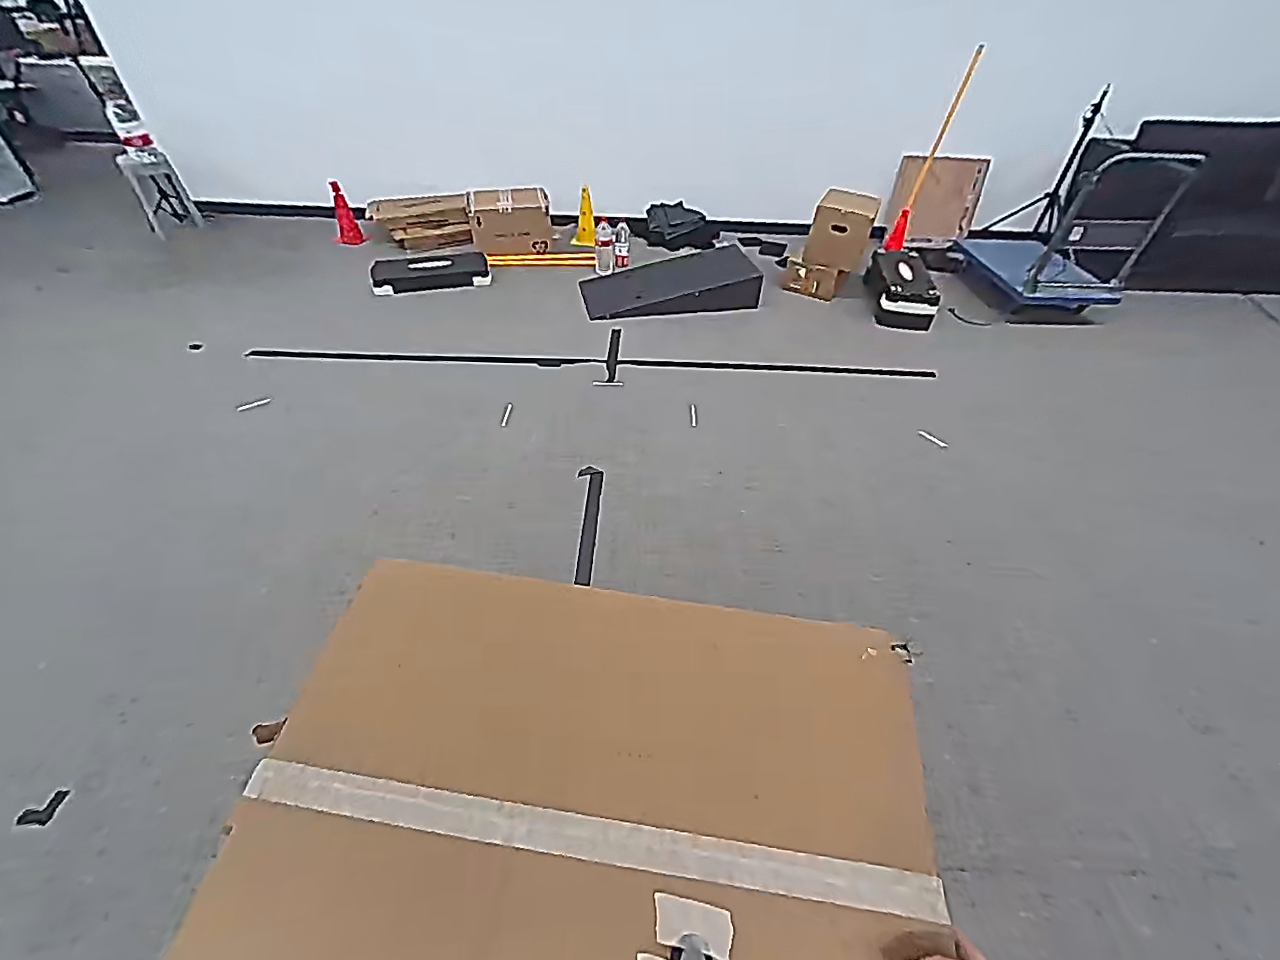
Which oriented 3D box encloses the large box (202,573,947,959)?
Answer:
[{"bbox_3d":[-0.030,0.306,0.441,0.408,0.320,0.320,8,53,4],"label":"large box"}]
